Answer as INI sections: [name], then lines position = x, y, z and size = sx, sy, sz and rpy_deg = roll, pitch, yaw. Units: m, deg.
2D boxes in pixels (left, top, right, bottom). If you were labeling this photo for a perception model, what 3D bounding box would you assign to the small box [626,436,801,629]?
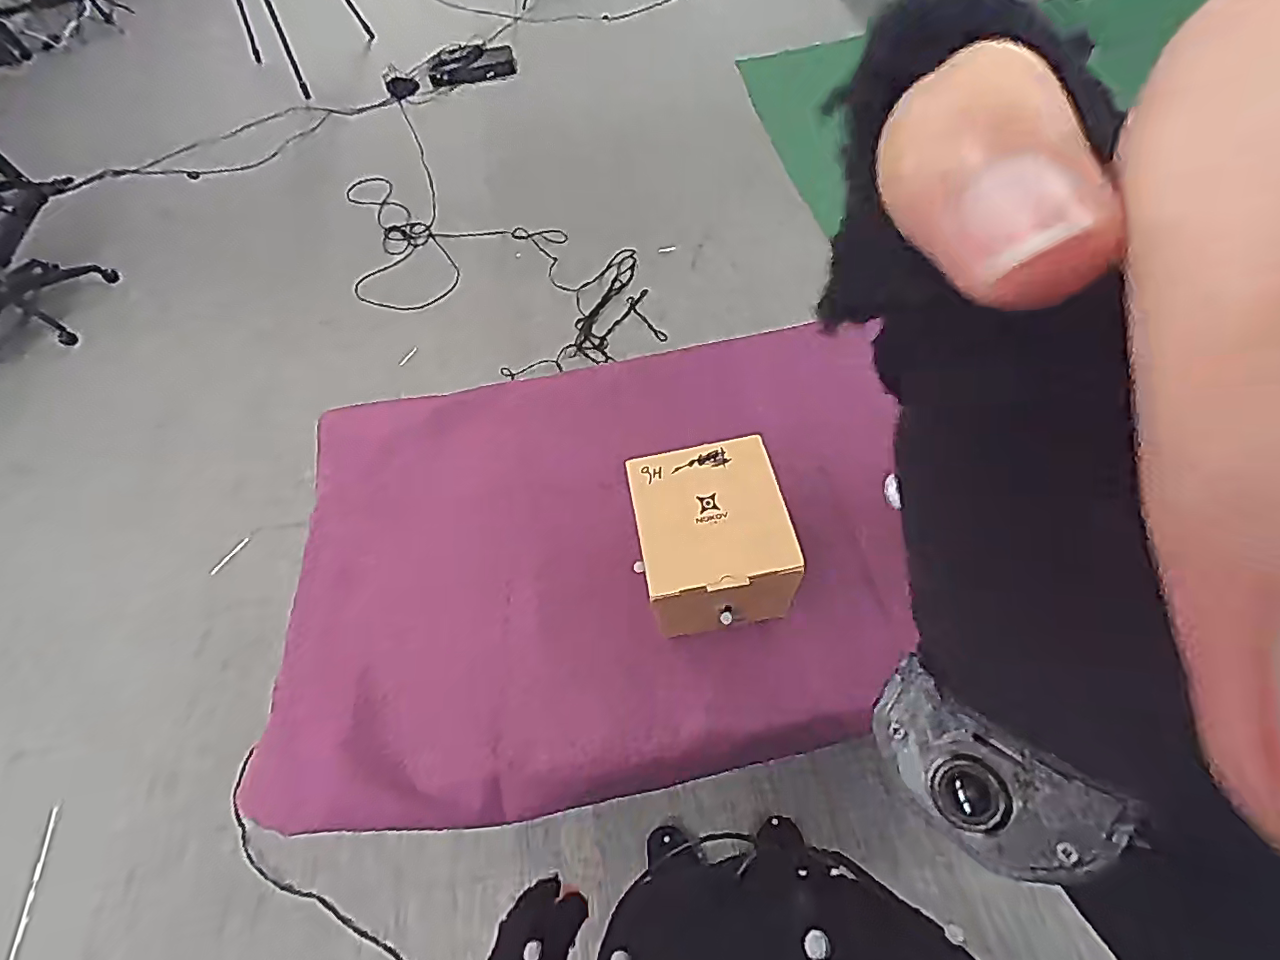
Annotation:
[small box]
position = 0.085, 0.075, 0.669
size = 0.168, 0.176, 0.179
rpy_deg = -11, 59, 0
